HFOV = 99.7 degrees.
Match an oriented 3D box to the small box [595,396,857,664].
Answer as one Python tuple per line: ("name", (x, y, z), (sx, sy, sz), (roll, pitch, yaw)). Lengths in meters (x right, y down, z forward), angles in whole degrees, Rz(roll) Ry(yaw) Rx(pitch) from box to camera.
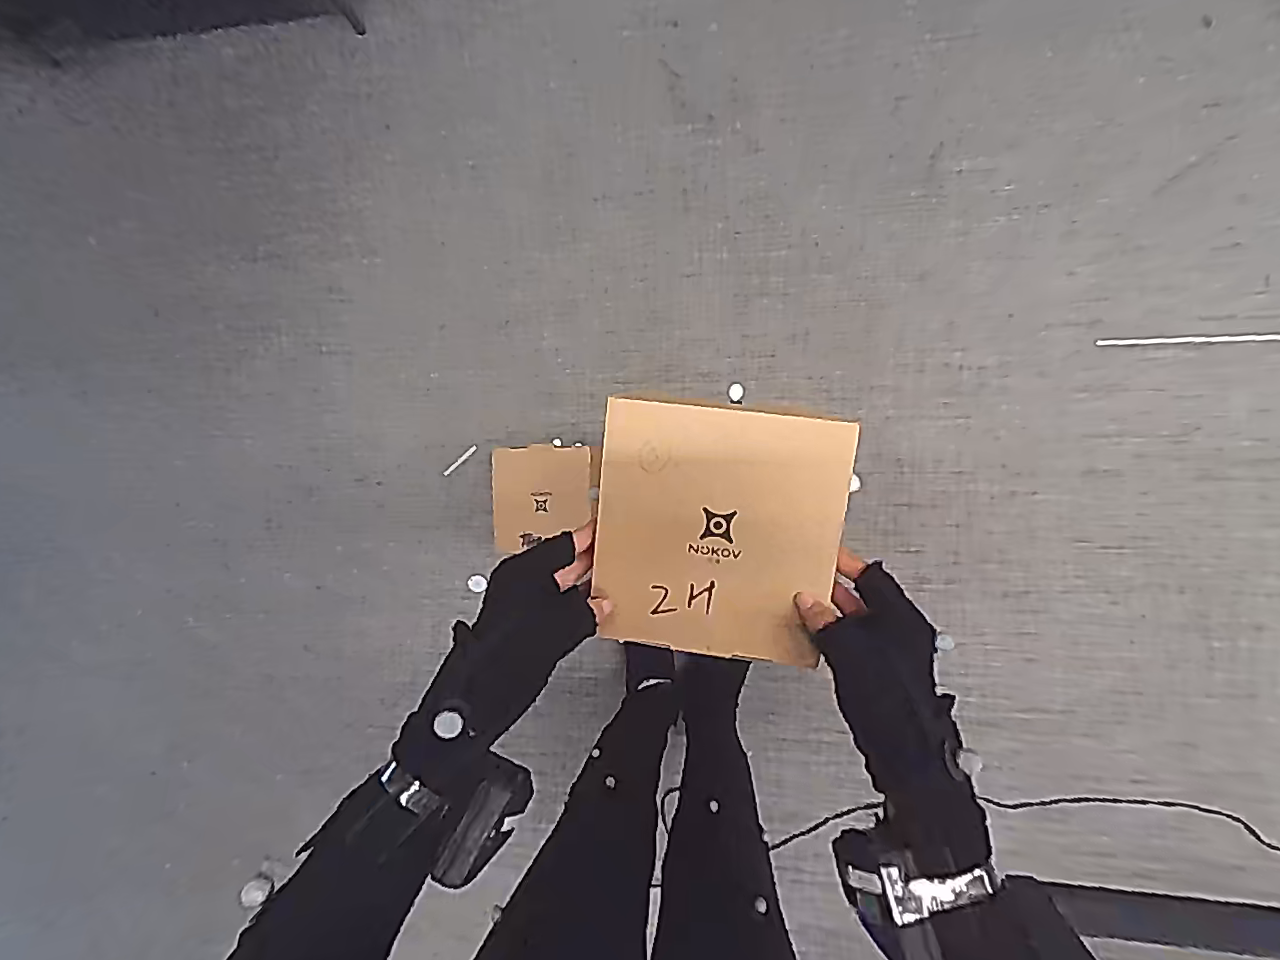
("small box", (0.065, 0.024, 0.457), (0.168, 0.176, 0.179), (7, 101, 7))

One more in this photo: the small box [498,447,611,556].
("small box", (-0.141, 0.035, 0.955), (0.168, 0.176, 0.179), (0, 90, 8))
